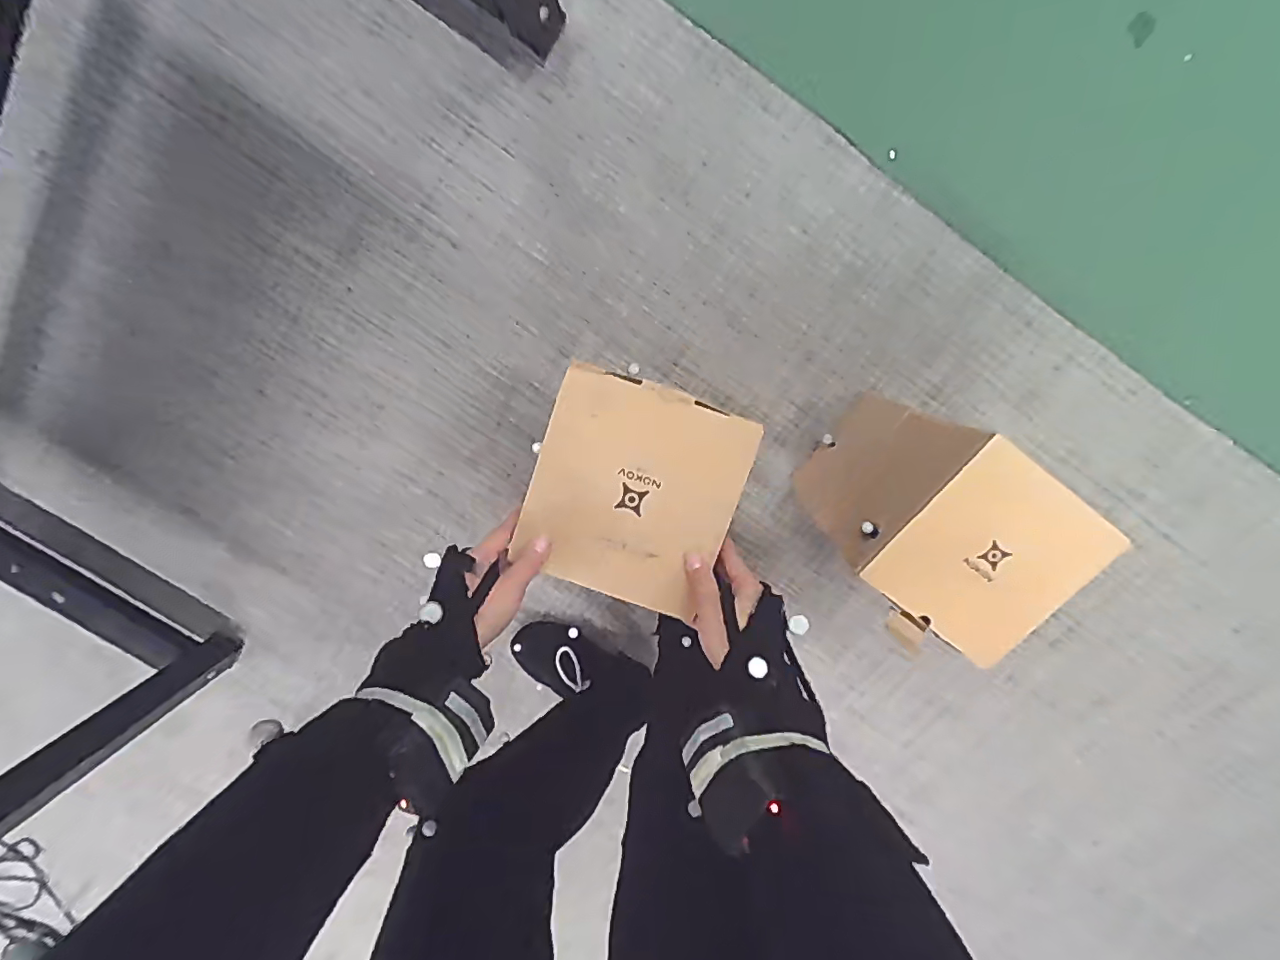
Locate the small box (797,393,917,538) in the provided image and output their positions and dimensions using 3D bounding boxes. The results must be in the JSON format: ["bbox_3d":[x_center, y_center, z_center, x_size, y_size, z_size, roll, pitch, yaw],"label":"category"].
[{"bbox_3d":[0.331,0.005,0.723,0.168,0.176,0.179,35,106,-5],"label":"small box"}]

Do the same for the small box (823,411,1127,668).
[{"bbox_3d":[0.321,0.047,0.565,0.168,0.176,0.179,37,105,-6],"label":"small box"}]
